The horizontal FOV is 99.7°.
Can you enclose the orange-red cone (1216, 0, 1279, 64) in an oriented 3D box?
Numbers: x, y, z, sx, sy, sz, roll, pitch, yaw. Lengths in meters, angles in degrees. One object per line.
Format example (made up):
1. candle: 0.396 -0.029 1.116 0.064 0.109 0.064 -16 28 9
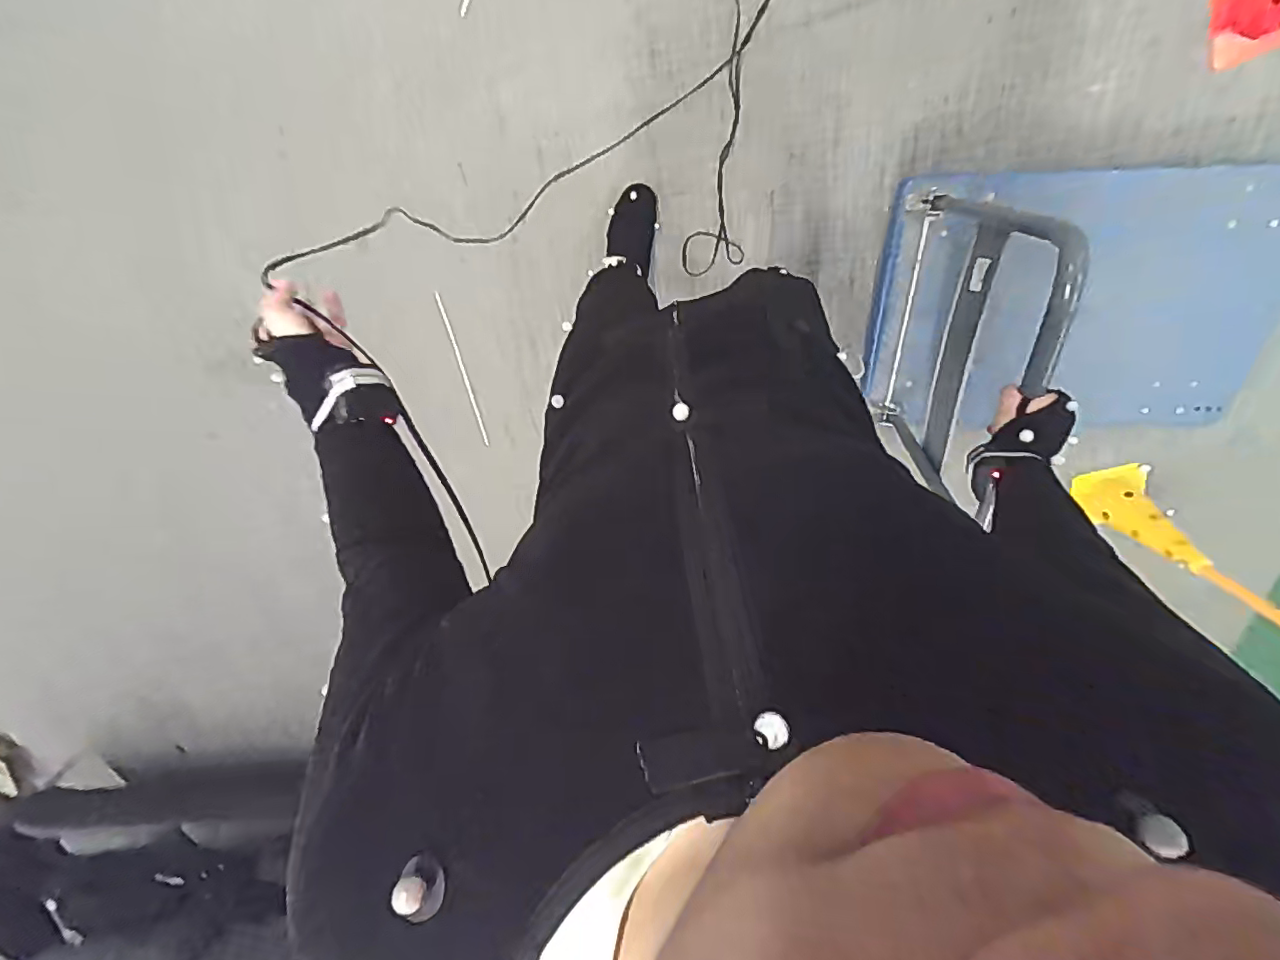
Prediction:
1. orange-red cone: 1.250 -0.891 0.925 0.198 0.360 0.199 -19 115 14
